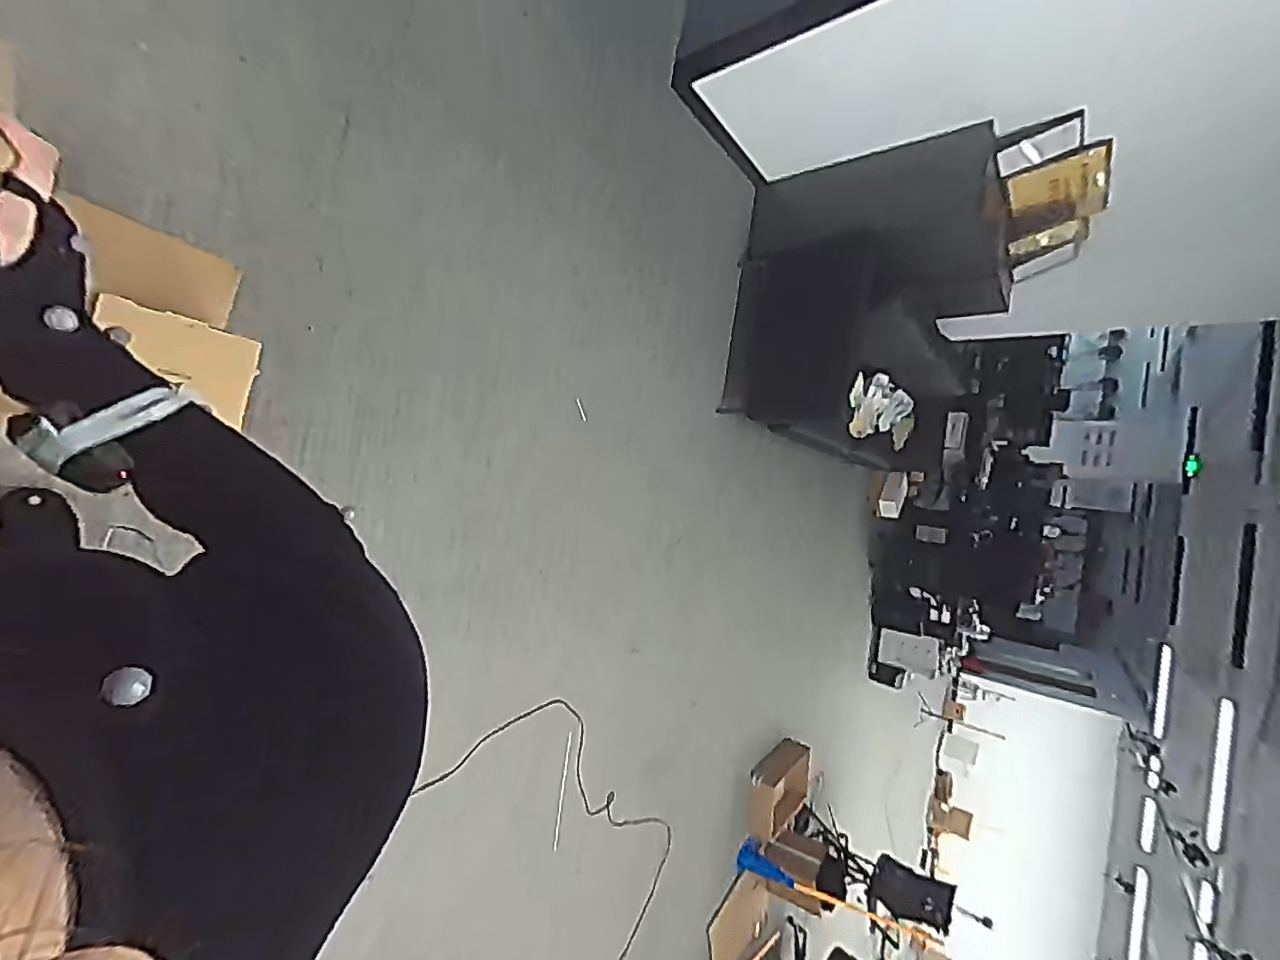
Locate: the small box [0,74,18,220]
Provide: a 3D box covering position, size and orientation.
[{"bbox_3d":[-0.534,-0.214,0.333,0.179,0.176,0.168,-43,155,18],"label":"small box"}]

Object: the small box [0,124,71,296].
[{"bbox_3d":[-0.763,-0.311,0.568,0.179,0.176,0.168,27,74,-50],"label":"small box"}]

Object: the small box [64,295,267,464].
[{"bbox_3d":[-0.645,-0.126,0.736,0.168,0.176,0.179,15,84,-51],"label":"small box"}]
